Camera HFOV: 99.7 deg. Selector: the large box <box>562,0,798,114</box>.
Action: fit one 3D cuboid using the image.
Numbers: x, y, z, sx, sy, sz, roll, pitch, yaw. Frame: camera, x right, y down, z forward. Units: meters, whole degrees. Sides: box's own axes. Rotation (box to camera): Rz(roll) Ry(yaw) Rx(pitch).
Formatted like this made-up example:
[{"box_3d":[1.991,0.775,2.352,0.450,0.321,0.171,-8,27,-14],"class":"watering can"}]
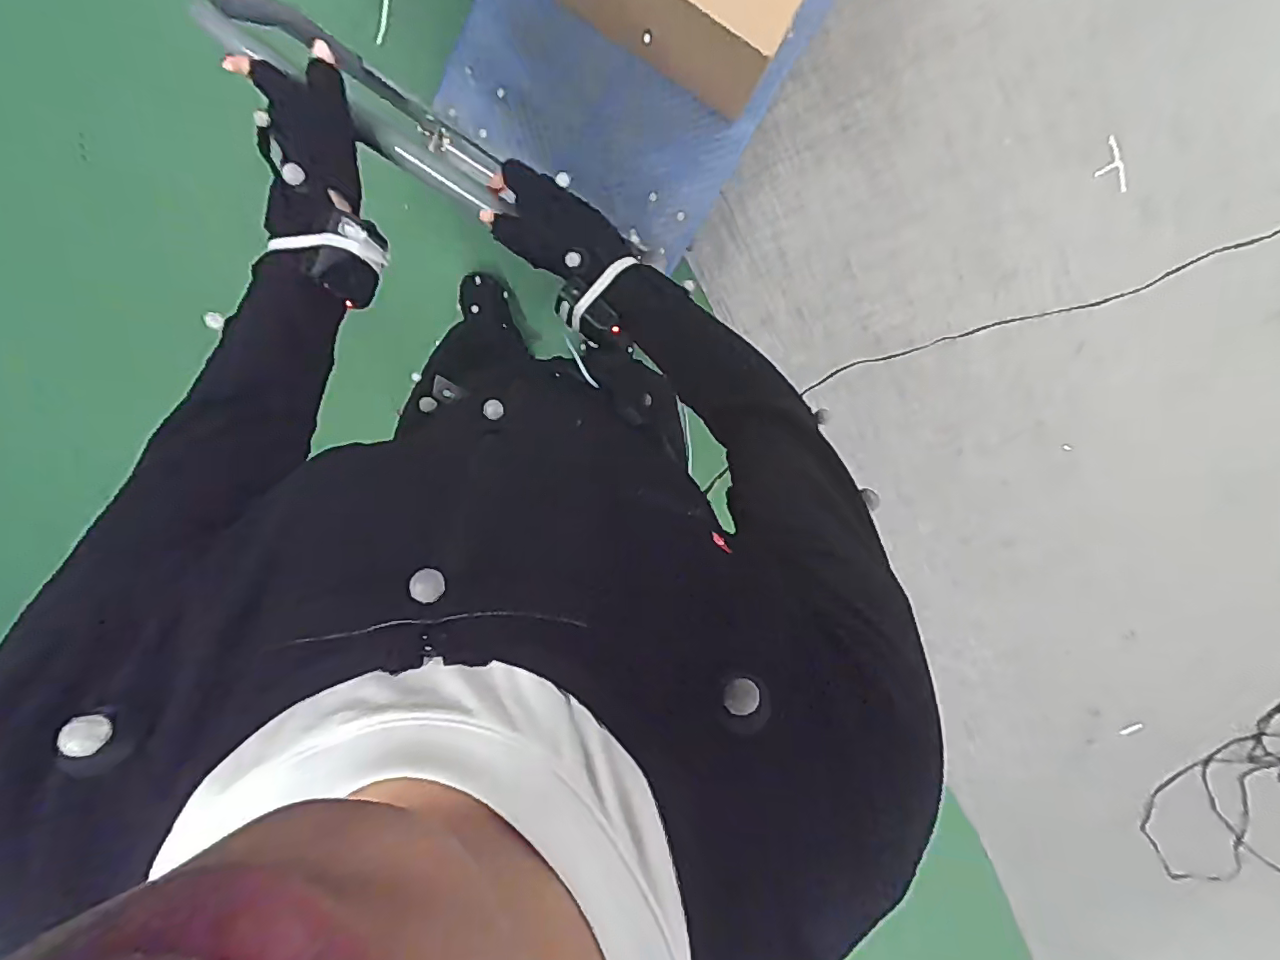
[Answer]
[{"box_3d":[0.088,-0.889,0.865,0.408,0.320,0.320,29,106,-9],"class":"large box"}]
